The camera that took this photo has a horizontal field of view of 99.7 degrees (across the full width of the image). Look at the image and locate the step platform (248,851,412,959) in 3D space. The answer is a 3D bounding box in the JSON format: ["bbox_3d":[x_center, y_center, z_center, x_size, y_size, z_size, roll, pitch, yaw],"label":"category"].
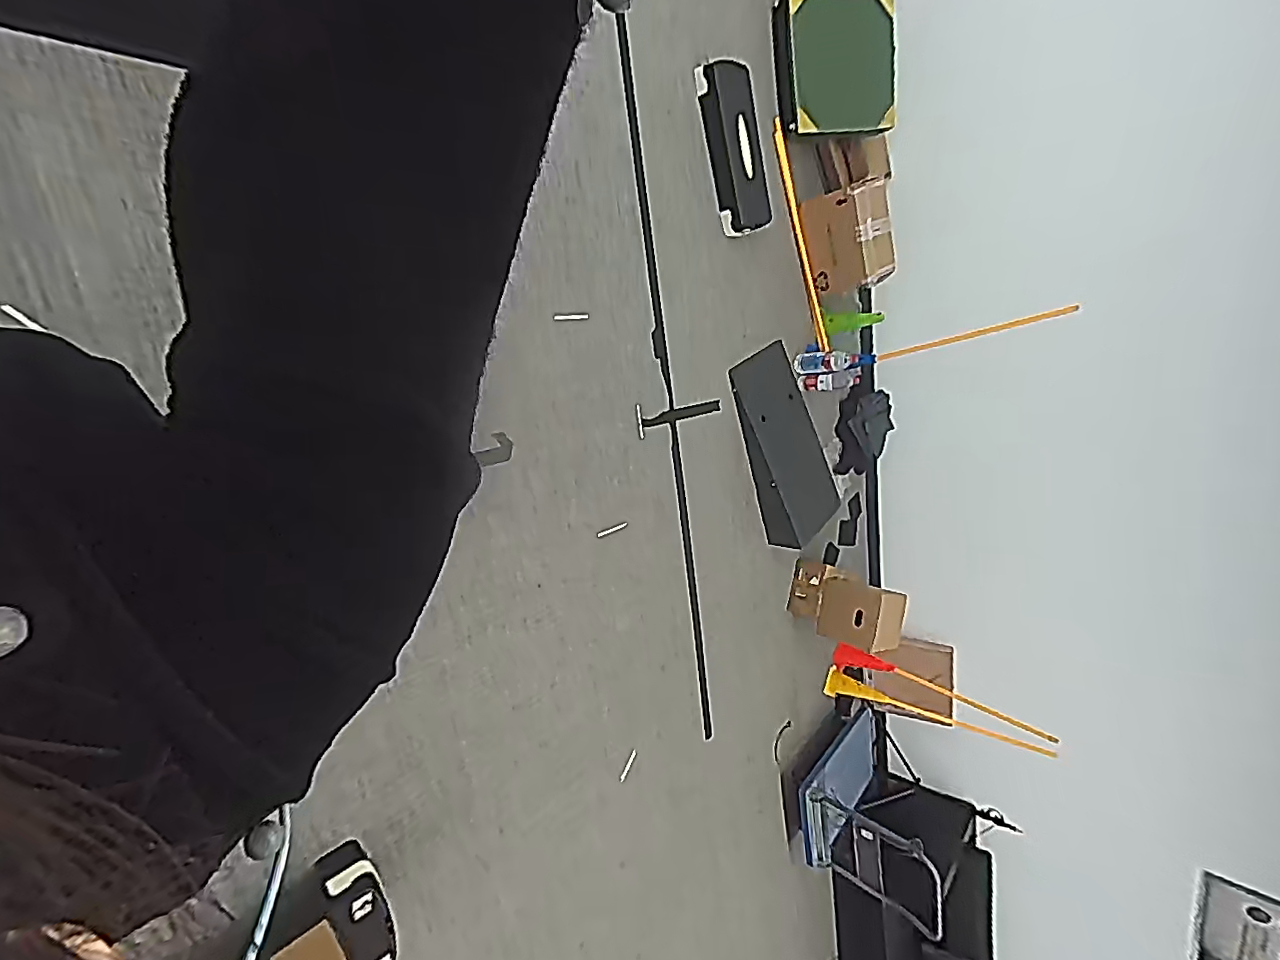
[{"bbox_3d":[-0.889,1.202,1.235,0.684,0.204,0.286,-11,101,-45],"label":"step platform"}]
